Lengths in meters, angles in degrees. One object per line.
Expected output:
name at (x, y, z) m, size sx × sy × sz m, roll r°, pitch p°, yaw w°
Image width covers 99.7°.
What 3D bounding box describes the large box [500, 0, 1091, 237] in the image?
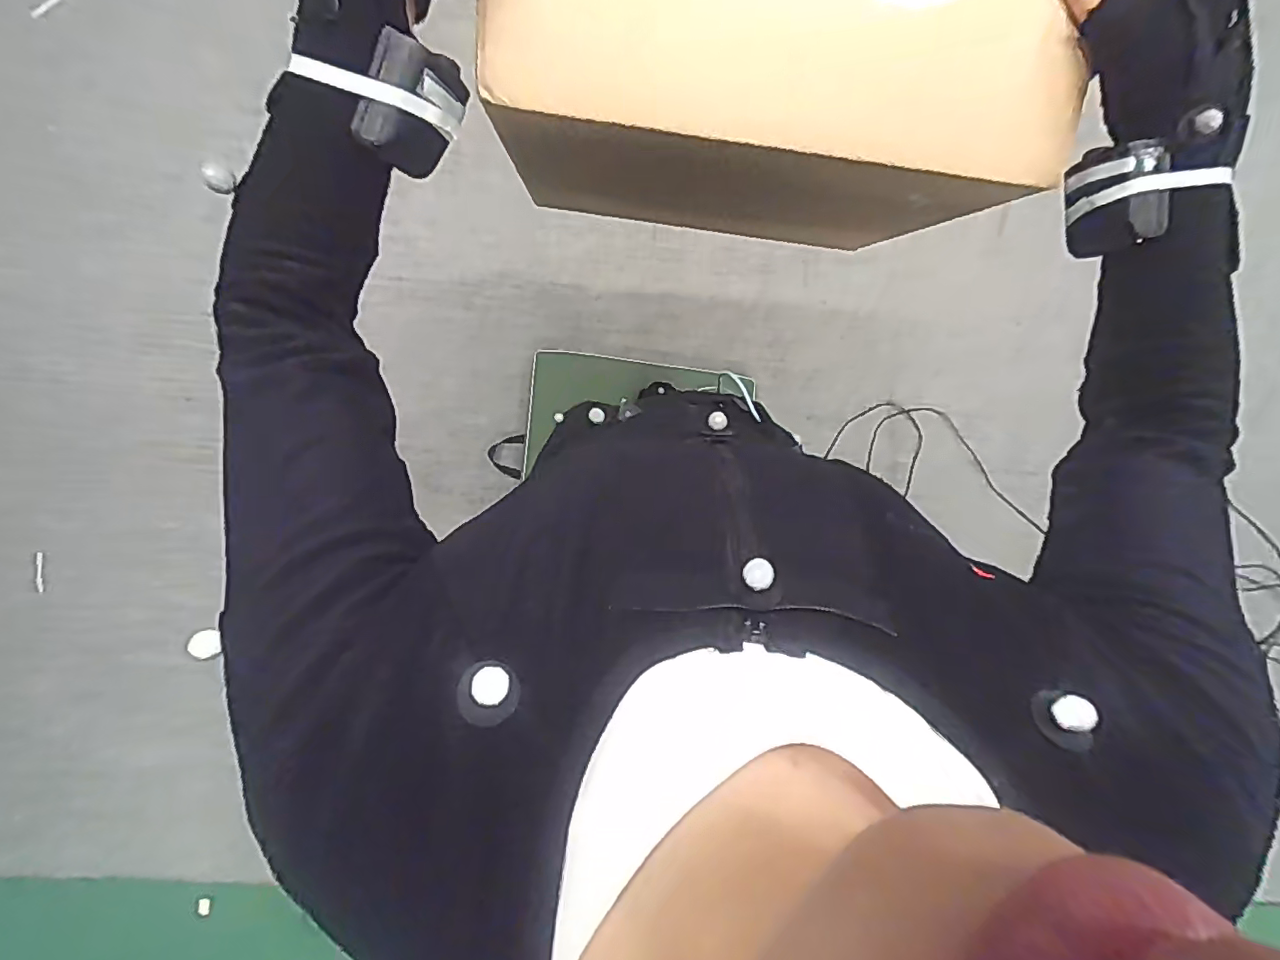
large box at (0.101, -0.424, 0.481) m, size 0.408 × 0.320 × 0.320 m, roll 4°, pitch 106°, yaw -7°
